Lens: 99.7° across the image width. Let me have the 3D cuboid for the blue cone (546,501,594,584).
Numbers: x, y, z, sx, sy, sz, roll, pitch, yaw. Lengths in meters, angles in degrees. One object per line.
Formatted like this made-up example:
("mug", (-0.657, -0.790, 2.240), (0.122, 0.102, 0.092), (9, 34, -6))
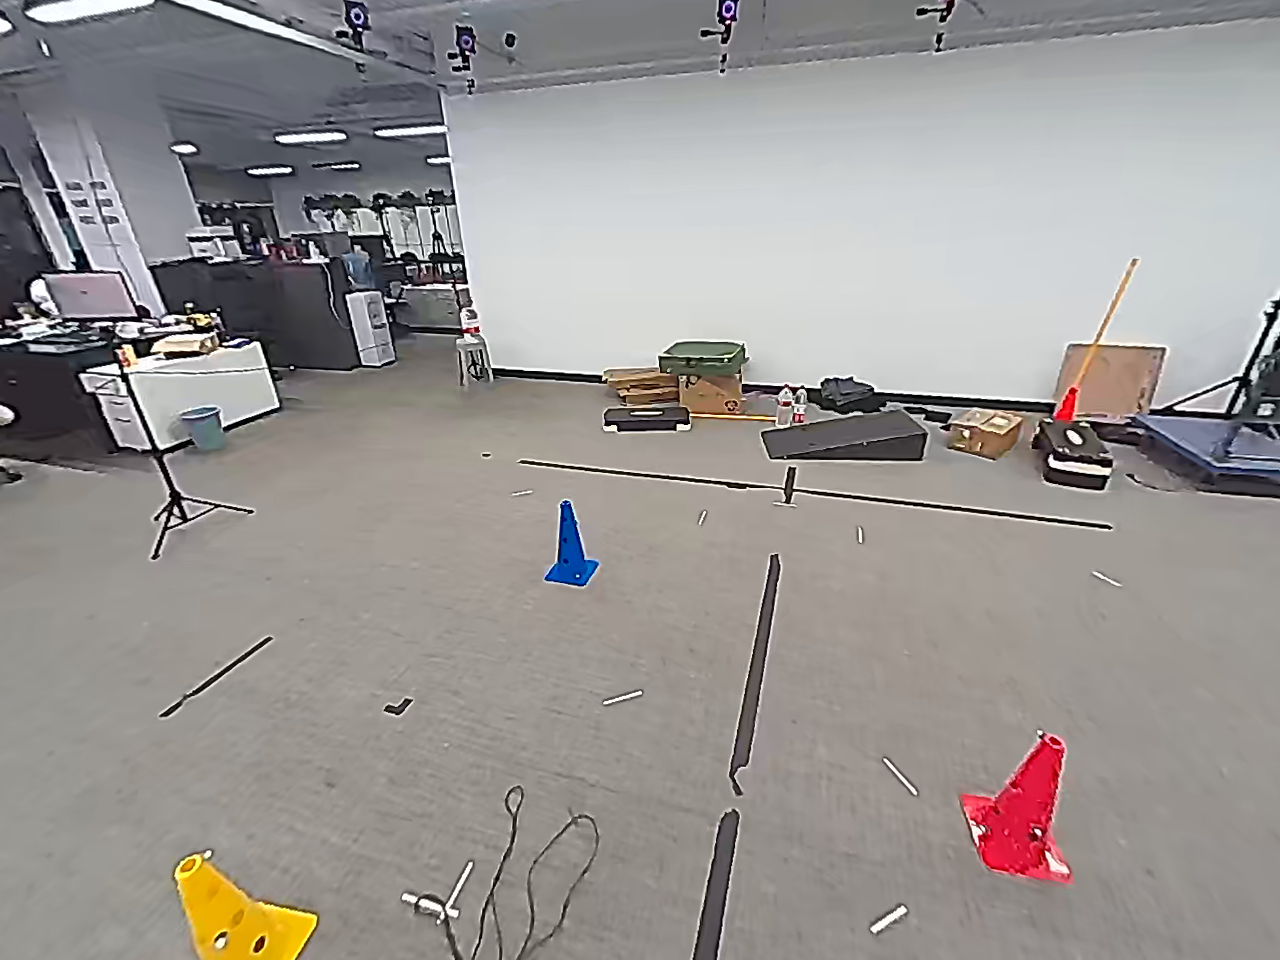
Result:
("blue cone", (-0.326, 0.270, 2.415), (0.192, 0.380, 0.193), (6, 26, 18))

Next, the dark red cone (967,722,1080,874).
("dark red cone", (0.957, 0.734, 1.301), (0.201, 0.394, 0.202), (2, 26, 10))
